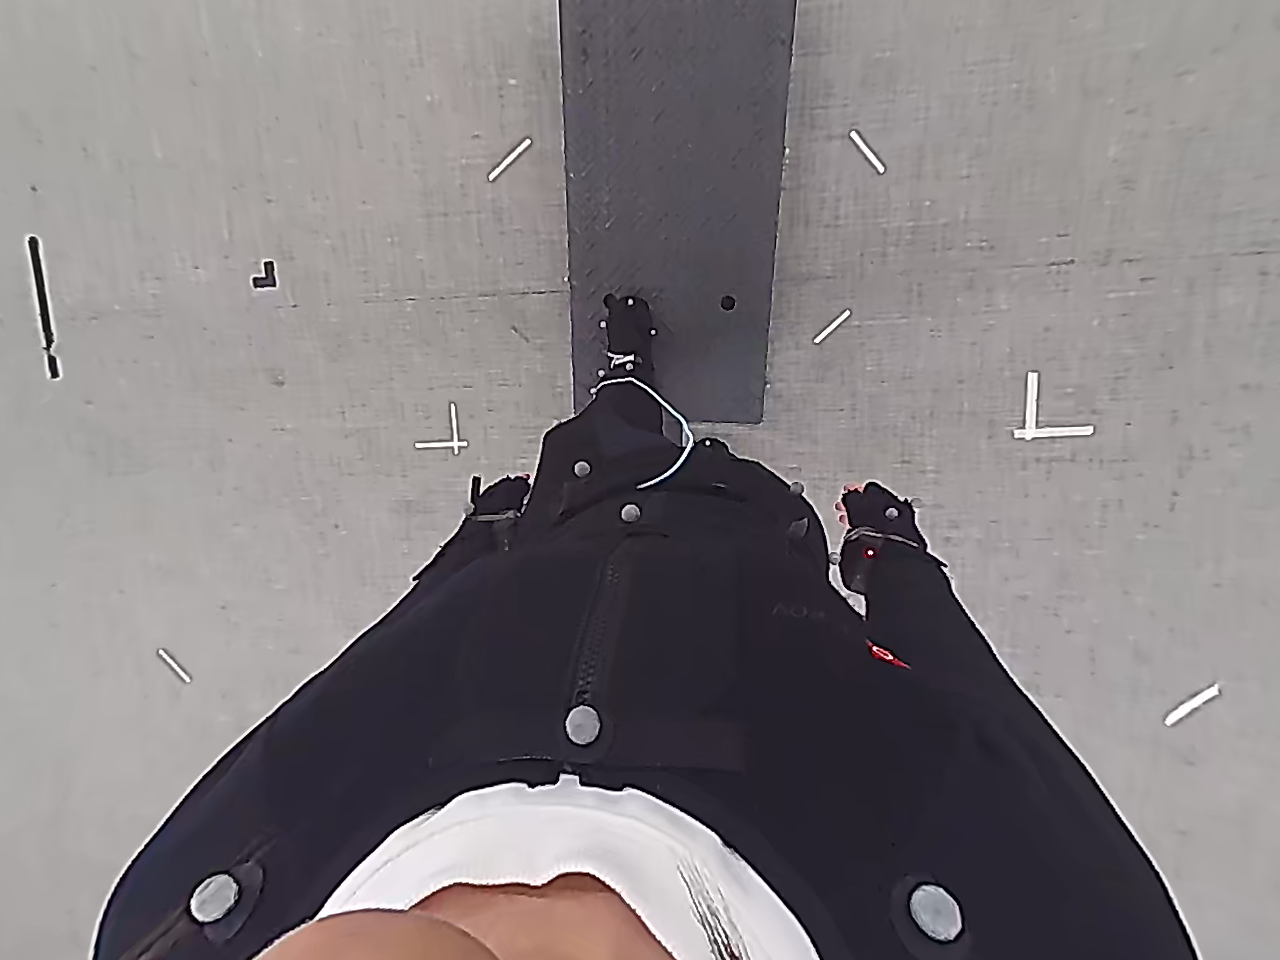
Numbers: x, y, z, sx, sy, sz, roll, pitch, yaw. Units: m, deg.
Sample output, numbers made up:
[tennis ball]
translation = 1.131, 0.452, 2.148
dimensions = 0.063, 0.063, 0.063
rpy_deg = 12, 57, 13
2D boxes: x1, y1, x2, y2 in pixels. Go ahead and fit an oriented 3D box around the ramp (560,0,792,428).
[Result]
[ramp]
translation = 0.082, -0.610, 1.264
dimensions = 0.509, 0.206, 0.991
rpy_deg = -1, 99, 7
